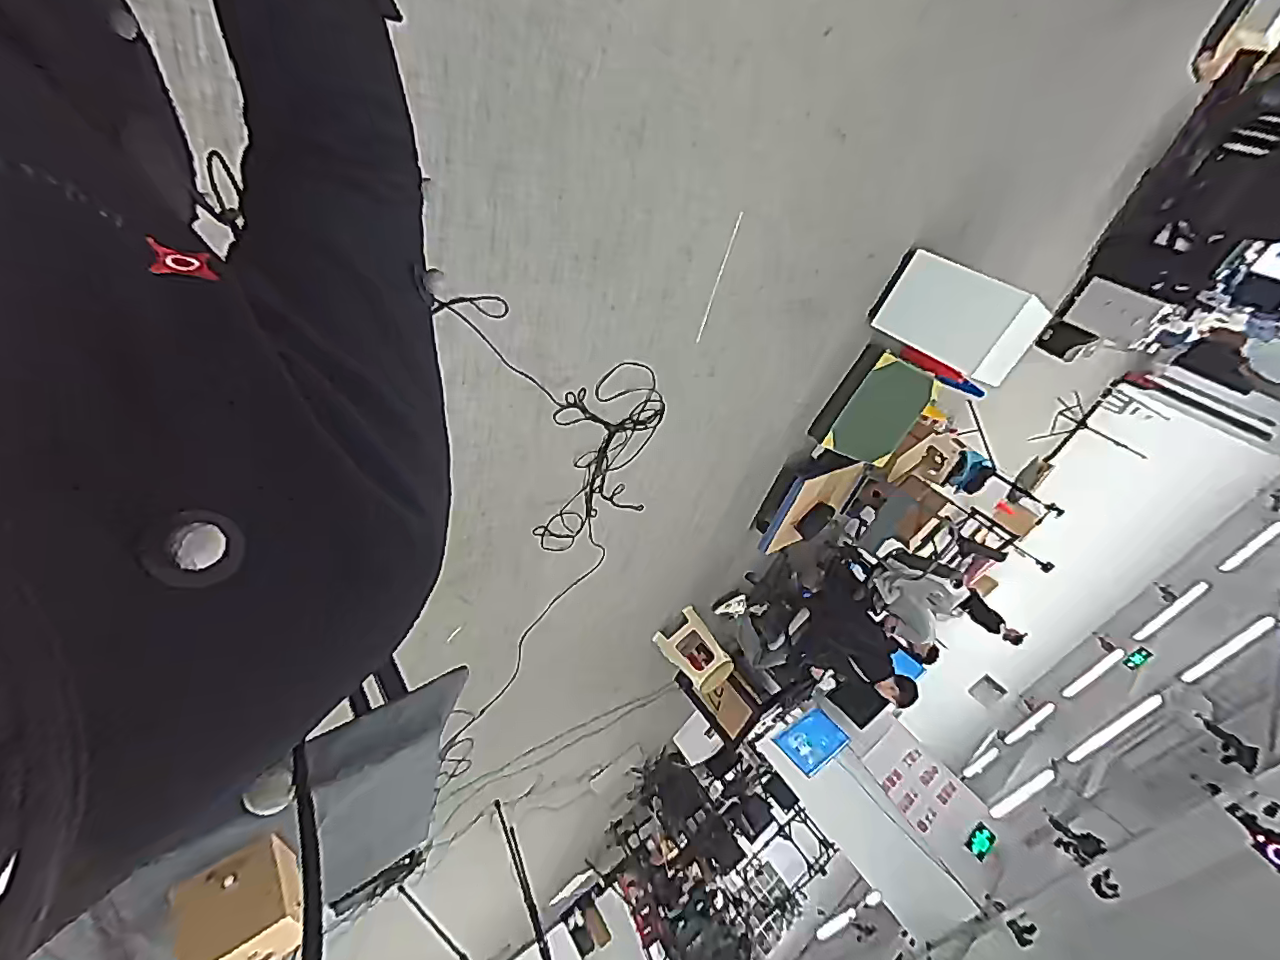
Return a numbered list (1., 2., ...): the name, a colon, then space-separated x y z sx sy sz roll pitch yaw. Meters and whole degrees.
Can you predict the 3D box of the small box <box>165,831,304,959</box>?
1. small box: -0.780 0.826 1.048 0.168 0.176 0.179 -21 140 -32
